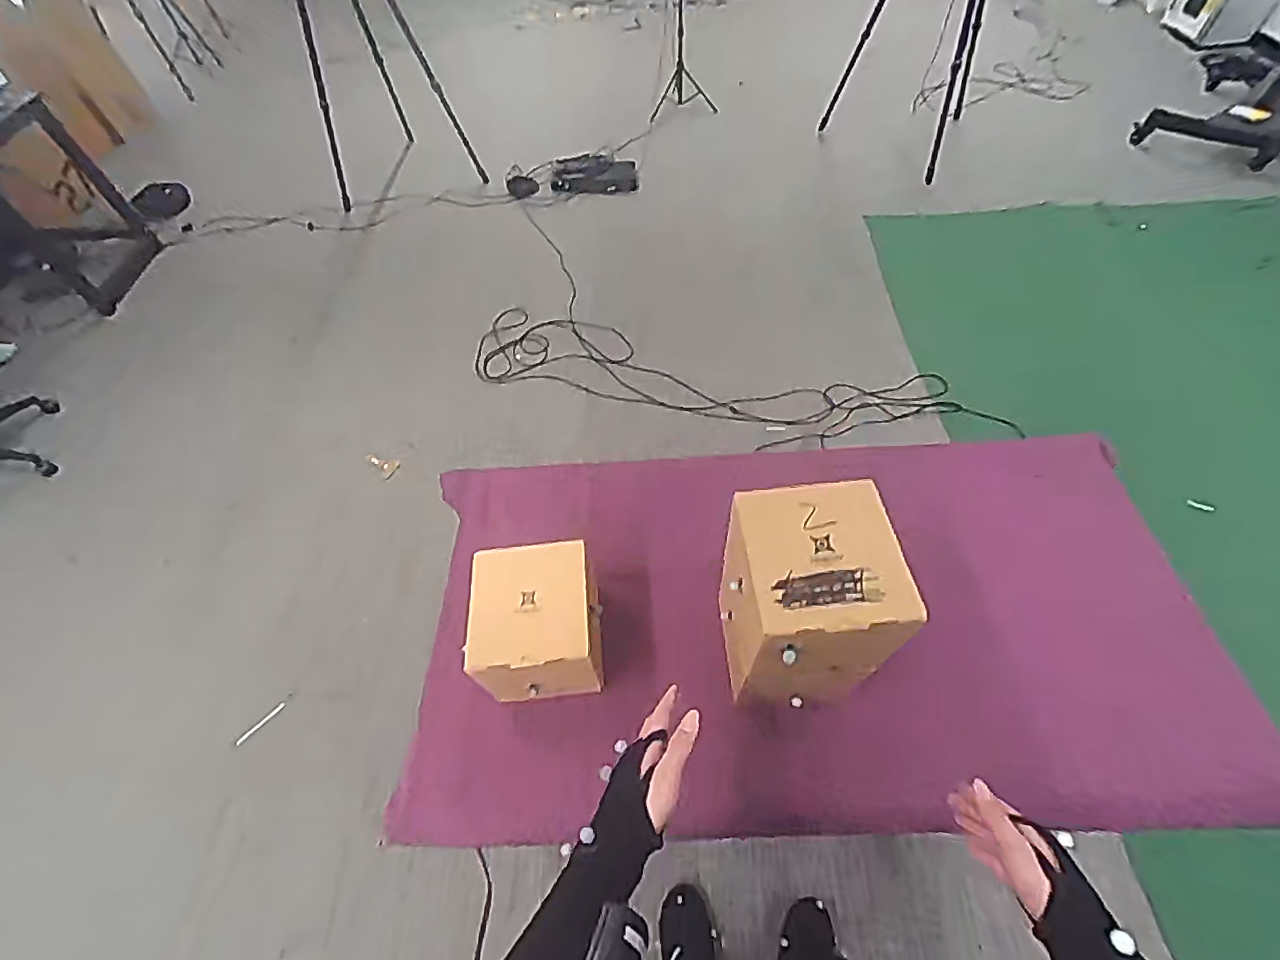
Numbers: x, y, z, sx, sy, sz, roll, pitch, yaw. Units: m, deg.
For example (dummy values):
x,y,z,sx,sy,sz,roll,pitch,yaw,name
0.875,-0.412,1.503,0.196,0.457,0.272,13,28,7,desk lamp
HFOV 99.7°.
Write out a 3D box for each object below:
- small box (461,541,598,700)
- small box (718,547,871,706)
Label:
x,y,z,sx,sy,sz,roll,pitch,yaw,name
-0.155,0.213,0.812,0.168,0.176,0.179,-6,56,-1,small box
0.207,0.215,0.785,0.168,0.176,0.179,-4,55,1,small box
